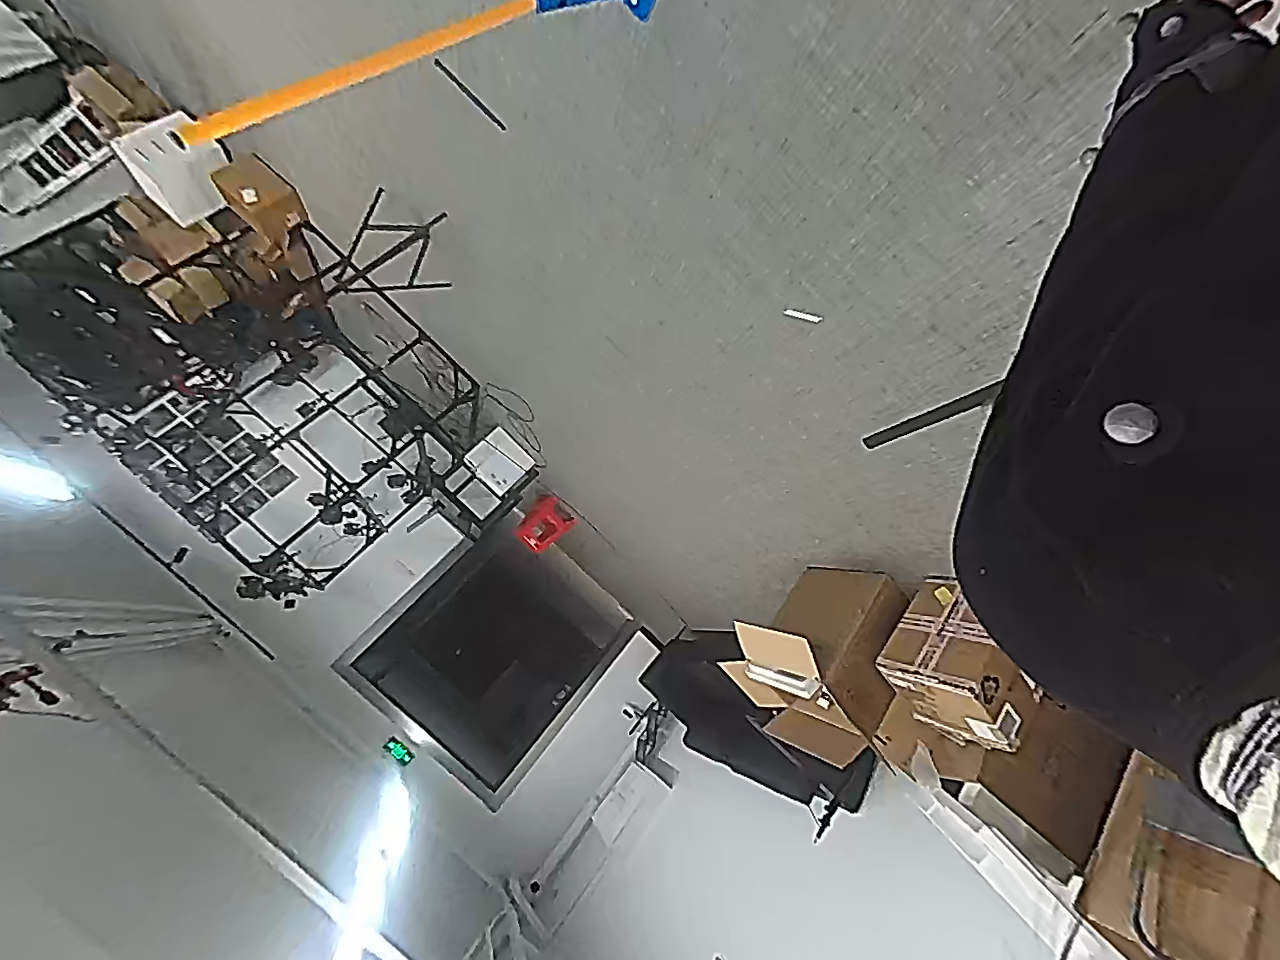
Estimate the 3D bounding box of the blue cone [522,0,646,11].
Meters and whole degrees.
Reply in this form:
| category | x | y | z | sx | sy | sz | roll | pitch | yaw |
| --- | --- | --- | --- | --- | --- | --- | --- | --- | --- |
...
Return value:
| category | x | y | z | sx | sy | sz | roll | pitch | yaw |
| --- | --- | --- | --- | --- | --- | --- | --- | --- | --- |
| blue cone | -0.136 | -1.196 | 1.269 | 0.192 | 0.380 | 0.193 | 46 | 157 | -8 |
